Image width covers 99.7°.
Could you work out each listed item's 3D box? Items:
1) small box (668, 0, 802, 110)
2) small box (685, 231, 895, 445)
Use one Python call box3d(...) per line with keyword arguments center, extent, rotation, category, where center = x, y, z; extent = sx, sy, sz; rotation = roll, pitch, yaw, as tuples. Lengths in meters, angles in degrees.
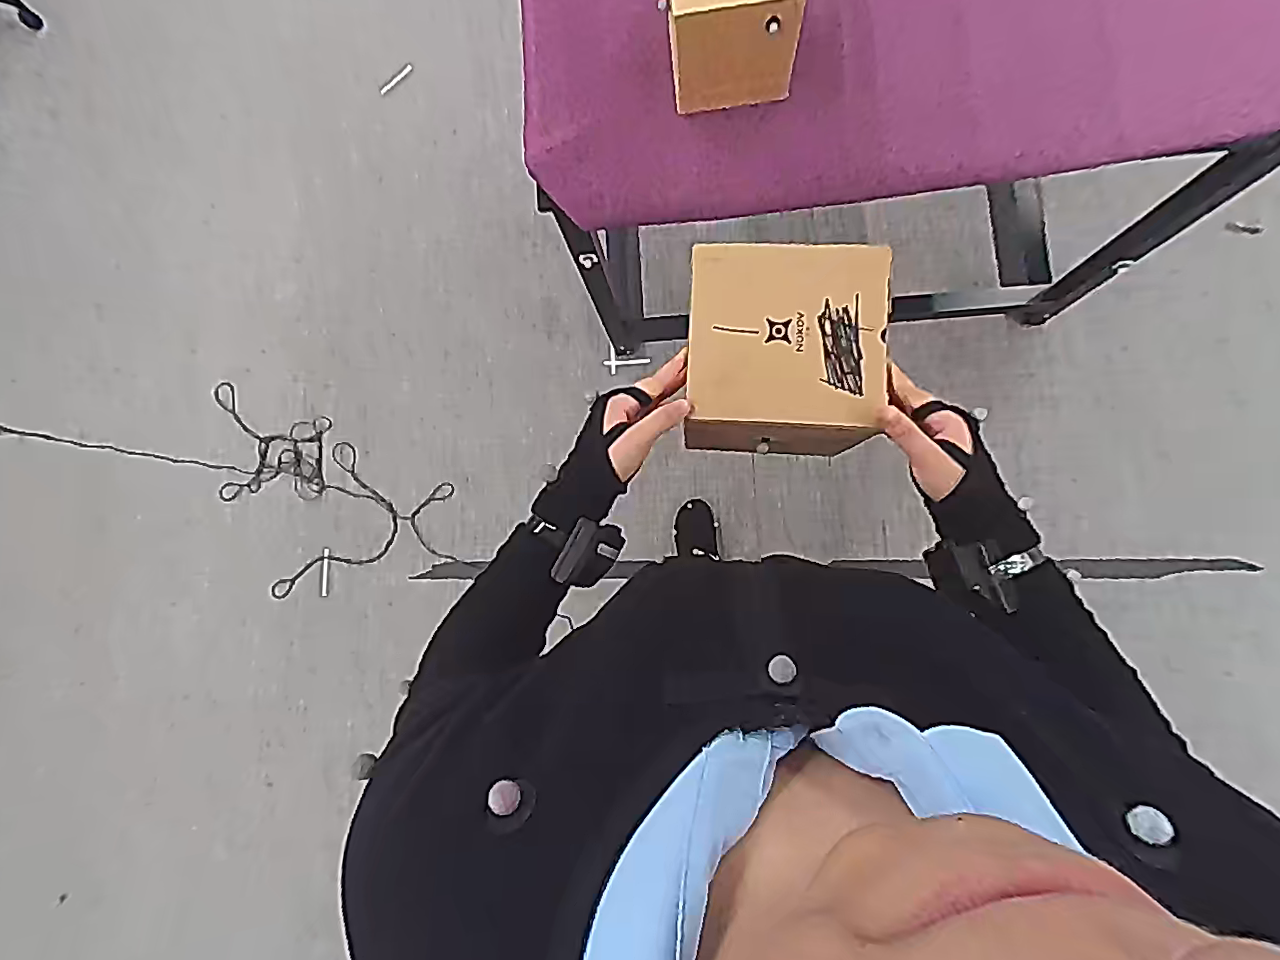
box3d(center=(0.132, -0.683, 0.792), extent=(0.179, 0.176, 0.168), rotation=(-6, 82, 5), category="small box")
box3d(center=(0.139, -0.131, 0.554), extent=(0.179, 0.176, 0.168), rotation=(3, 85, 6), category="small box")
